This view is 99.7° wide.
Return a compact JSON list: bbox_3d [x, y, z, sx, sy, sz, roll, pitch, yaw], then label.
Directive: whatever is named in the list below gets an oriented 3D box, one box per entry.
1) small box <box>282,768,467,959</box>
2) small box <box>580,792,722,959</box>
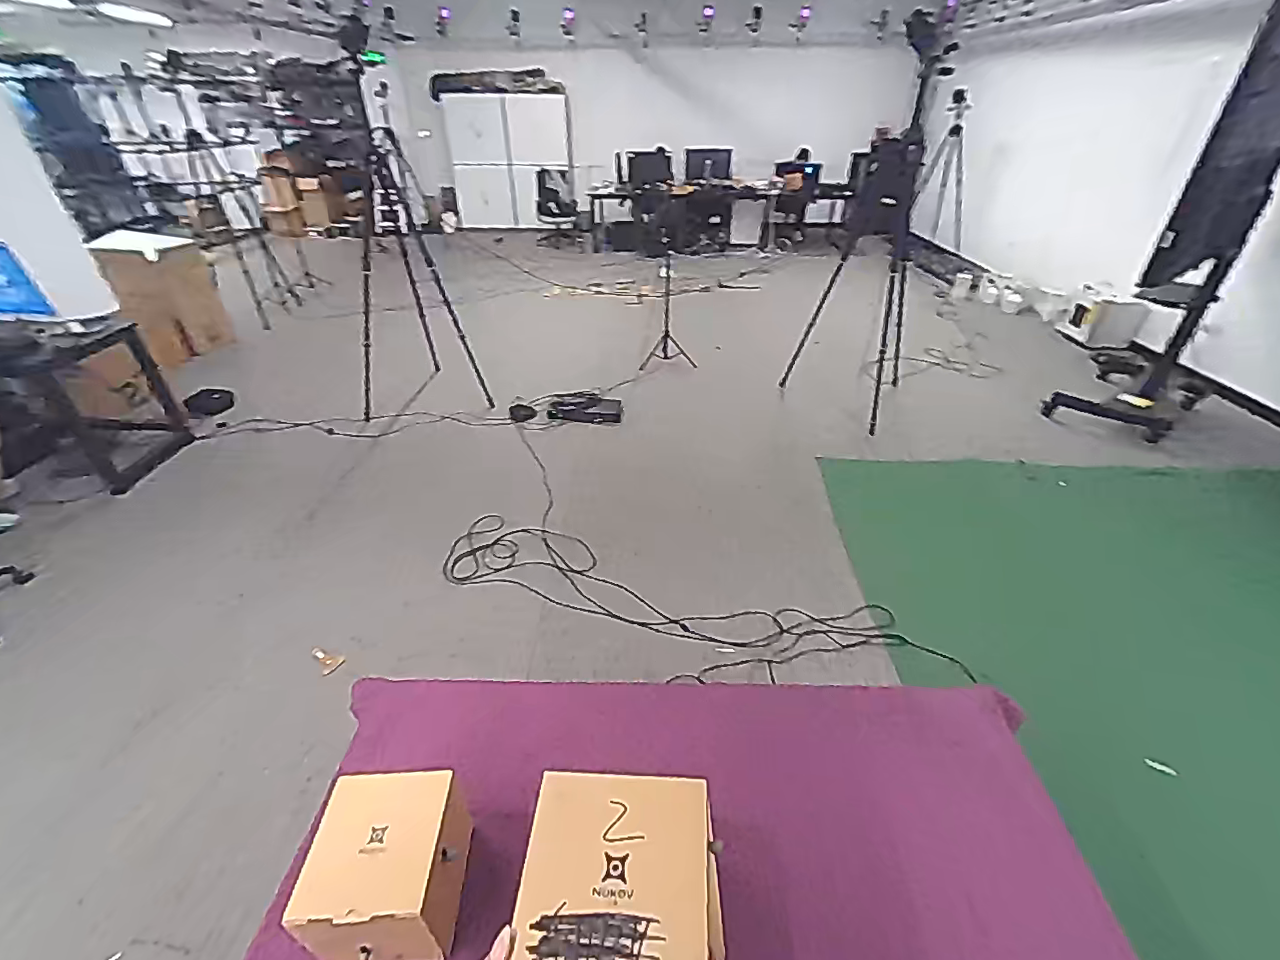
[{"bbox_3d":[-0.350,0.534,0.755,0.168,0.176,0.179,-2,35,-3],"label":"small box"},{"bbox_3d":[0.013,0.550,0.726,0.168,0.176,0.179,-1,35,0],"label":"small box"}]
